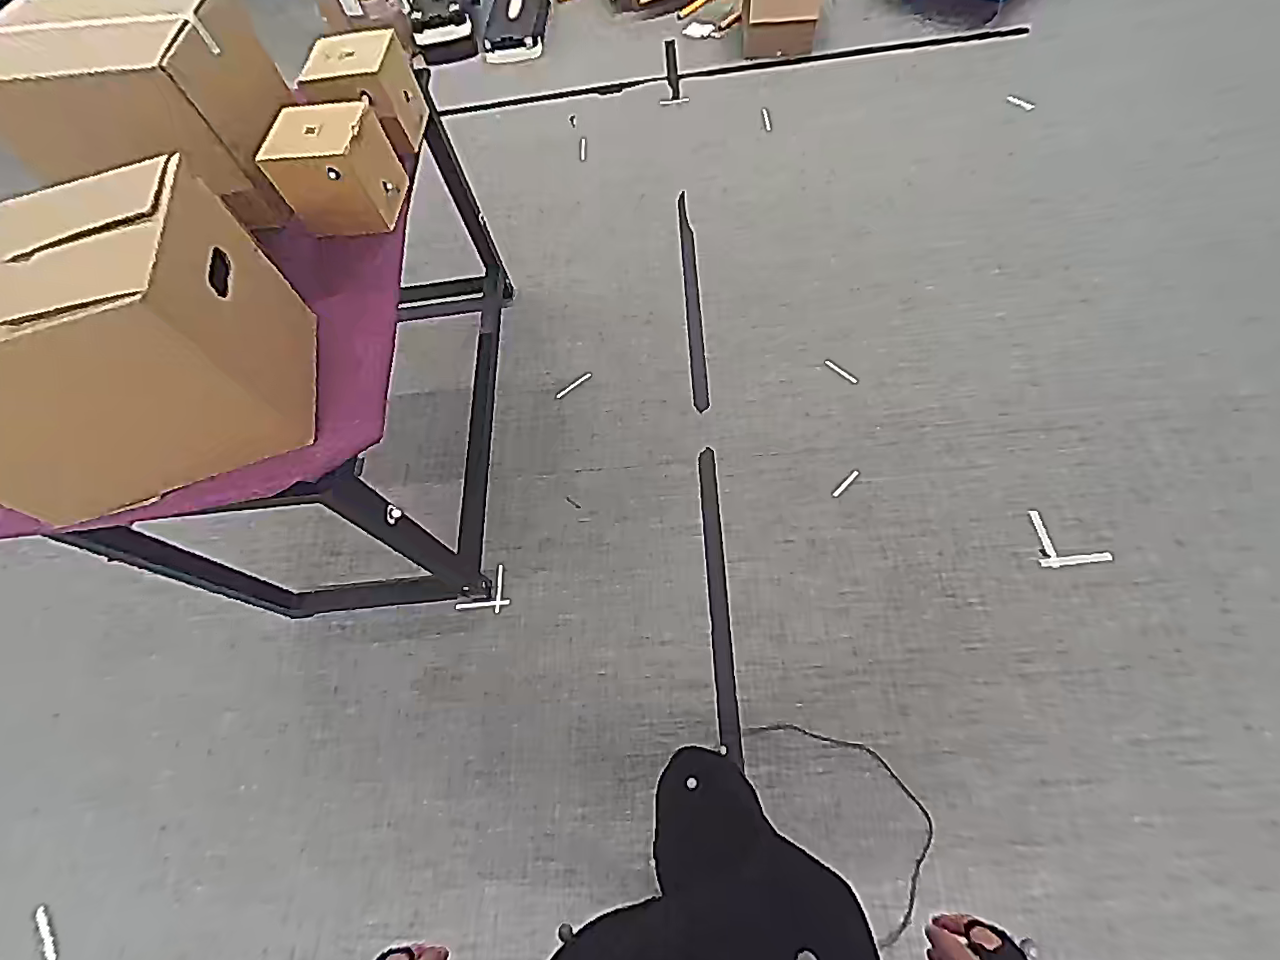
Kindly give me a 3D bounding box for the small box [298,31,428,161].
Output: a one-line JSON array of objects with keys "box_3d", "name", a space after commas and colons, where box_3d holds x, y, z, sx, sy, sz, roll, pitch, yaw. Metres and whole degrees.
[{"box_3d": [-0.591, -0.831, 1.181, 0.179, 0.176, 0.168, -3, 62, 7], "name": "small box"}]
